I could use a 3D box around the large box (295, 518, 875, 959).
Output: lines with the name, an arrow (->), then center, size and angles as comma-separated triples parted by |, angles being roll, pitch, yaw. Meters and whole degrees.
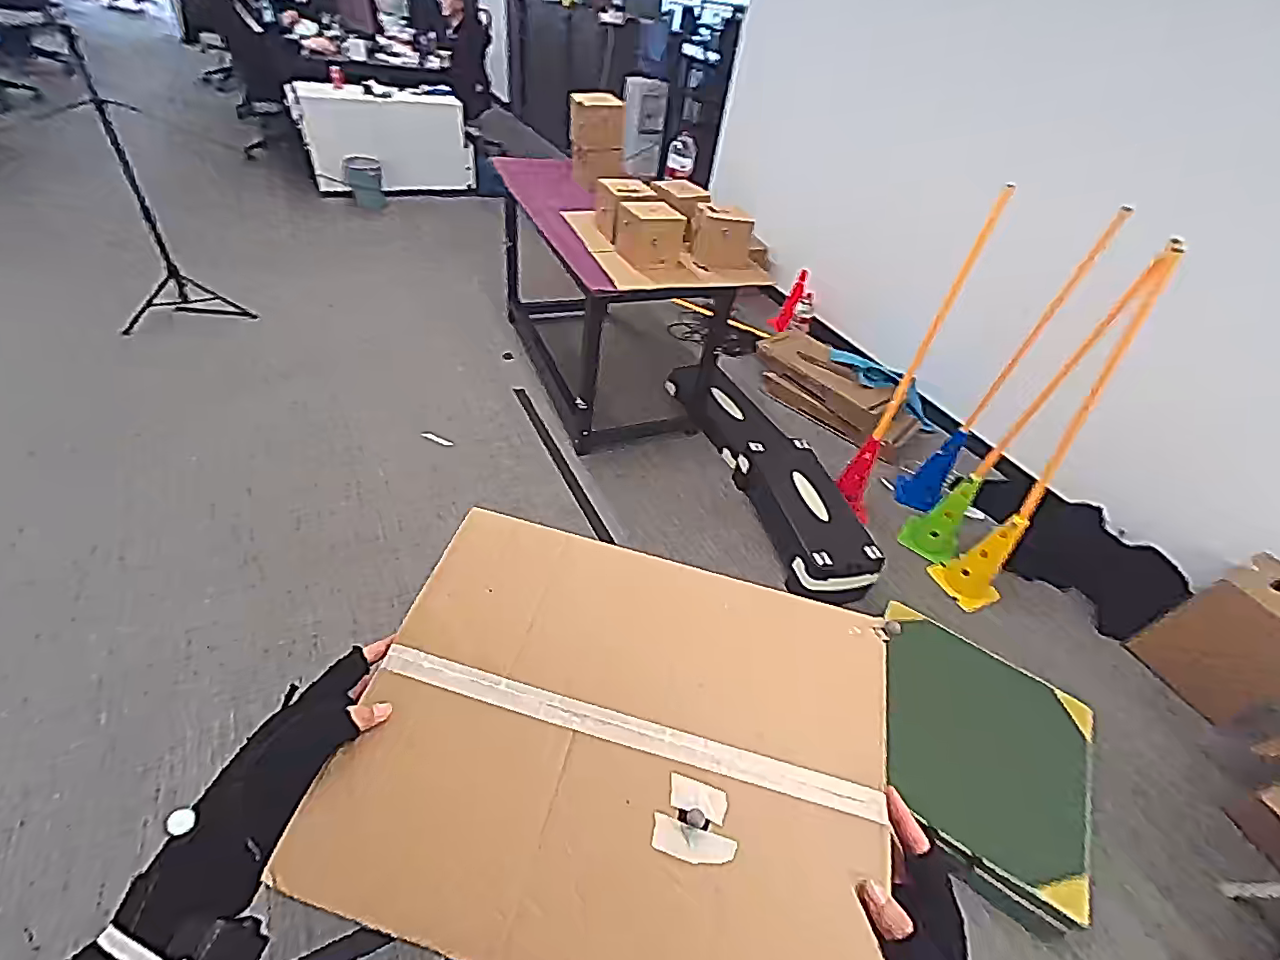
large box -> -0.022, 0.288, 0.555 | 0.408, 0.320, 0.320 | 15, 53, 6
